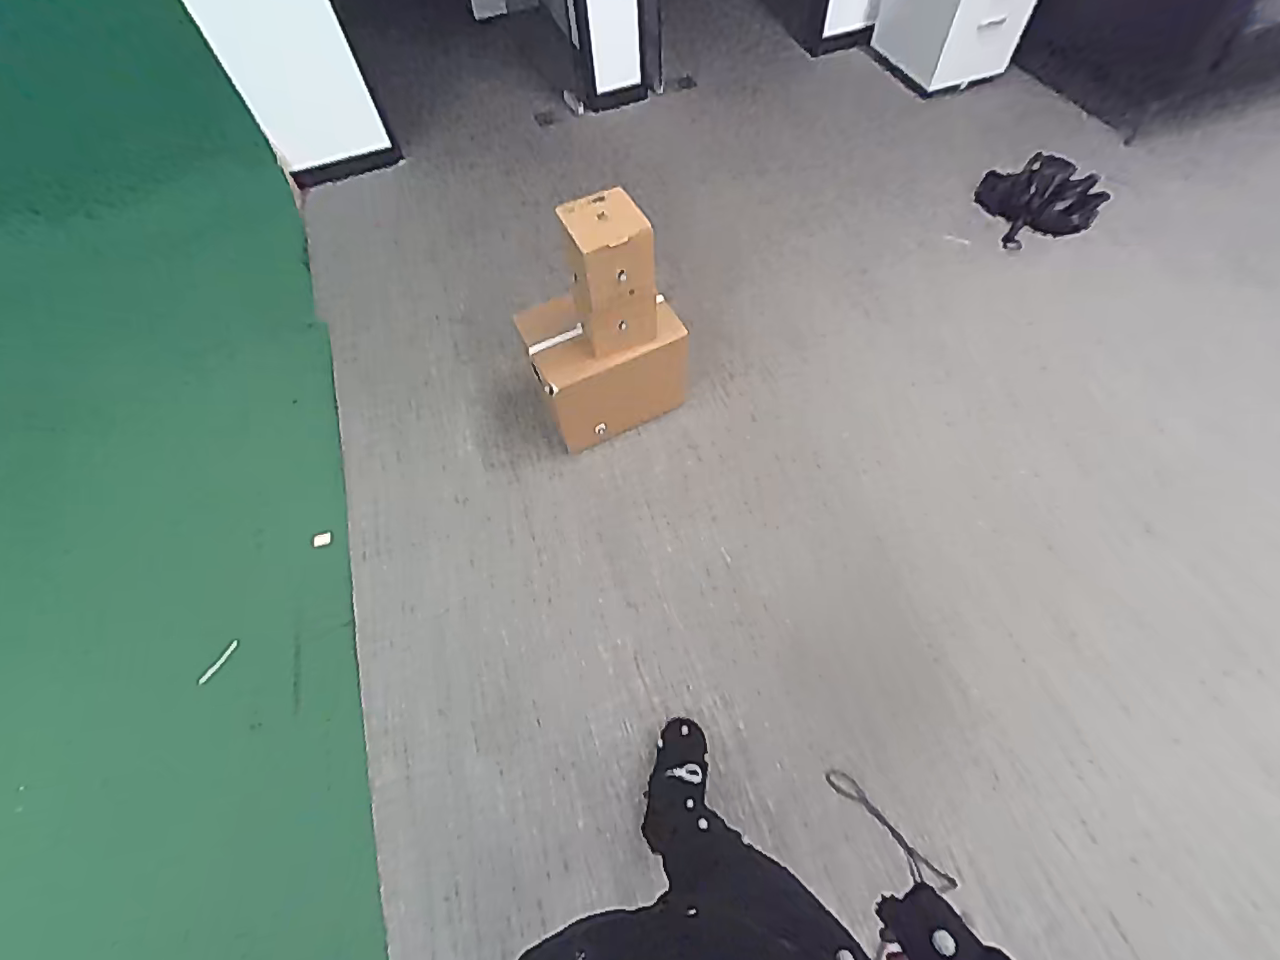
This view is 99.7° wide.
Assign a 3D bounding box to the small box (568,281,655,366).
[{"bbox_3d":[-0.071,-0.431,1.410,0.179,0.176,0.168,-21,61,-8],"label":"small box"}]

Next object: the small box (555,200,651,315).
[{"bbox_3d":[-0.081,-0.512,1.269,0.168,0.176,0.179,-23,62,-10],"label":"small box"}]
